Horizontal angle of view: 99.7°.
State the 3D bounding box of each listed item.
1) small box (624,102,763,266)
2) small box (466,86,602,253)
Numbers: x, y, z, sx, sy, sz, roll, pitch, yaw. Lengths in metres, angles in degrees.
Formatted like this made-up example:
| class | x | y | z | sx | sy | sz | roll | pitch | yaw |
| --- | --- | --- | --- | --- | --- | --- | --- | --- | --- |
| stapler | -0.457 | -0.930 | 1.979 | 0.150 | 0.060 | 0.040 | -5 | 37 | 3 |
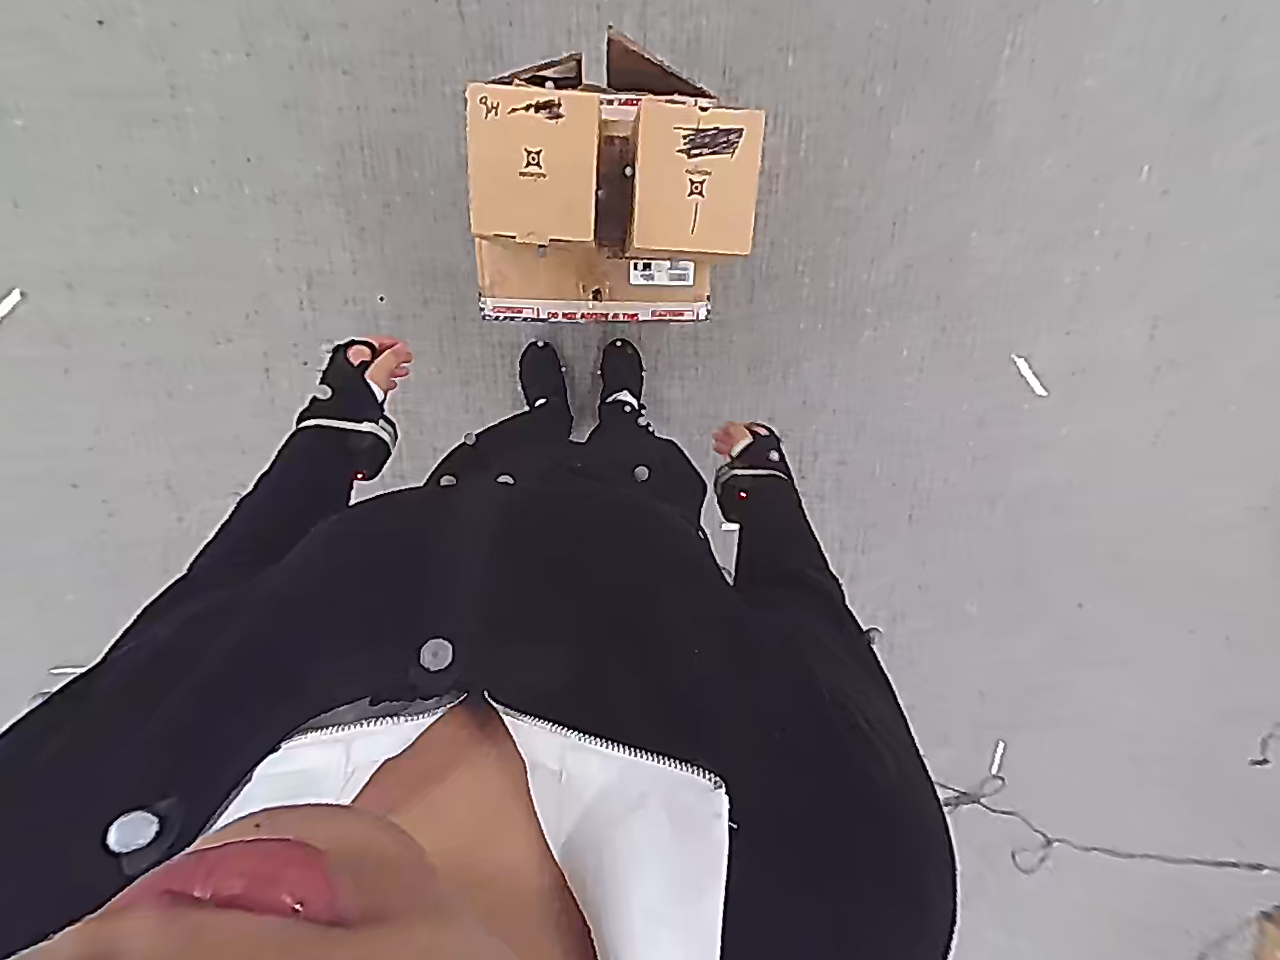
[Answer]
| class | x | y | z | sx | sy | sz | roll | pitch | yaw |
| --- | --- | --- | --- | --- | --- | --- | --- | --- | --- |
| small box | 0.066 | -0.418 | 0.792 | 0.168 | 0.176 | 0.179 | 2 | 109 | -6 |
| small box | -0.143 | -0.426 | 0.773 | 0.168 | 0.176 | 0.179 | 3 | 109 | -3 |
